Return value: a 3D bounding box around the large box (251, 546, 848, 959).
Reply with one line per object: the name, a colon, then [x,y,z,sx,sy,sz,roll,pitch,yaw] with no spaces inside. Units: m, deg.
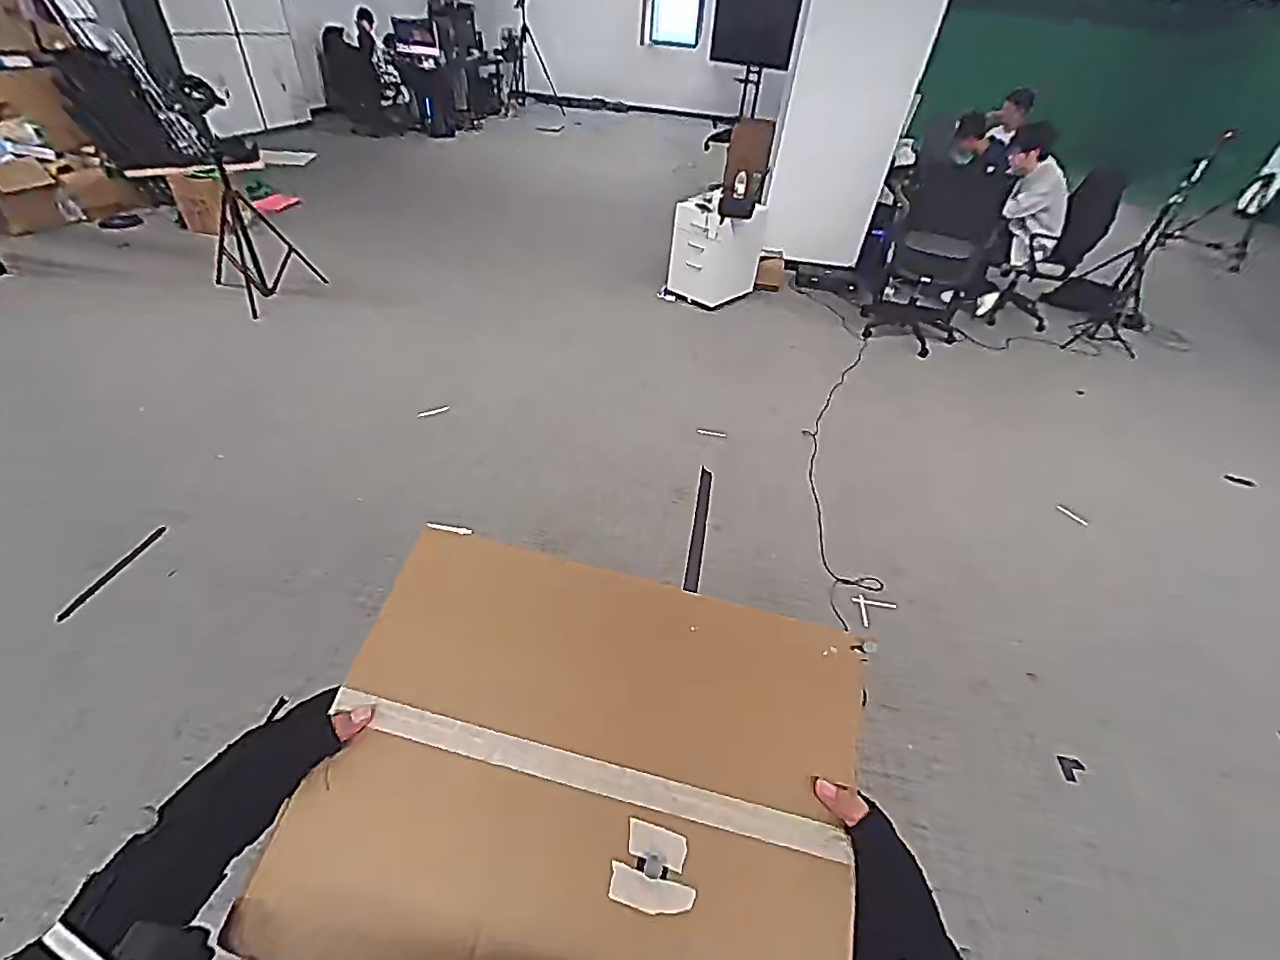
large box: [-0.047,0.304,0.553,0.408,0.320,0.320,13,61,6]
